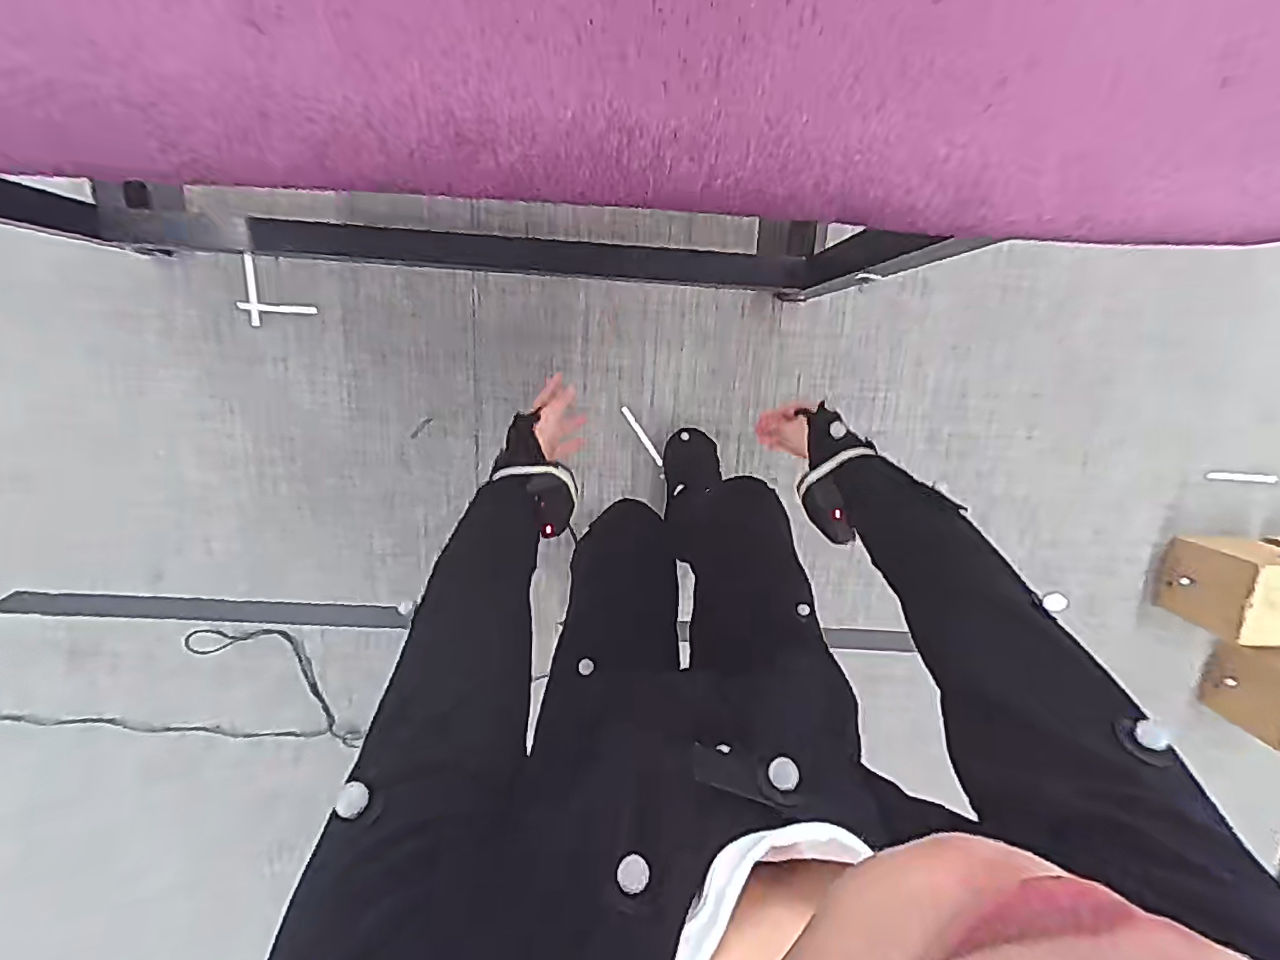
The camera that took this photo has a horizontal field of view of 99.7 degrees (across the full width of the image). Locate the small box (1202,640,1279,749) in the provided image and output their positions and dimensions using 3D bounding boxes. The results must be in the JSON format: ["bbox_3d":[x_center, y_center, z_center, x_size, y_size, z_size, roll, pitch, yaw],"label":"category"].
[{"bbox_3d":[1.405,0.464,1.171,0.179,0.176,0.168,5,103,-3],"label":"small box"}]

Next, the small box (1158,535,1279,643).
[{"bbox_3d":[1.235,0.216,1.102,0.179,0.176,0.168,2,103,-3],"label":"small box"}]
